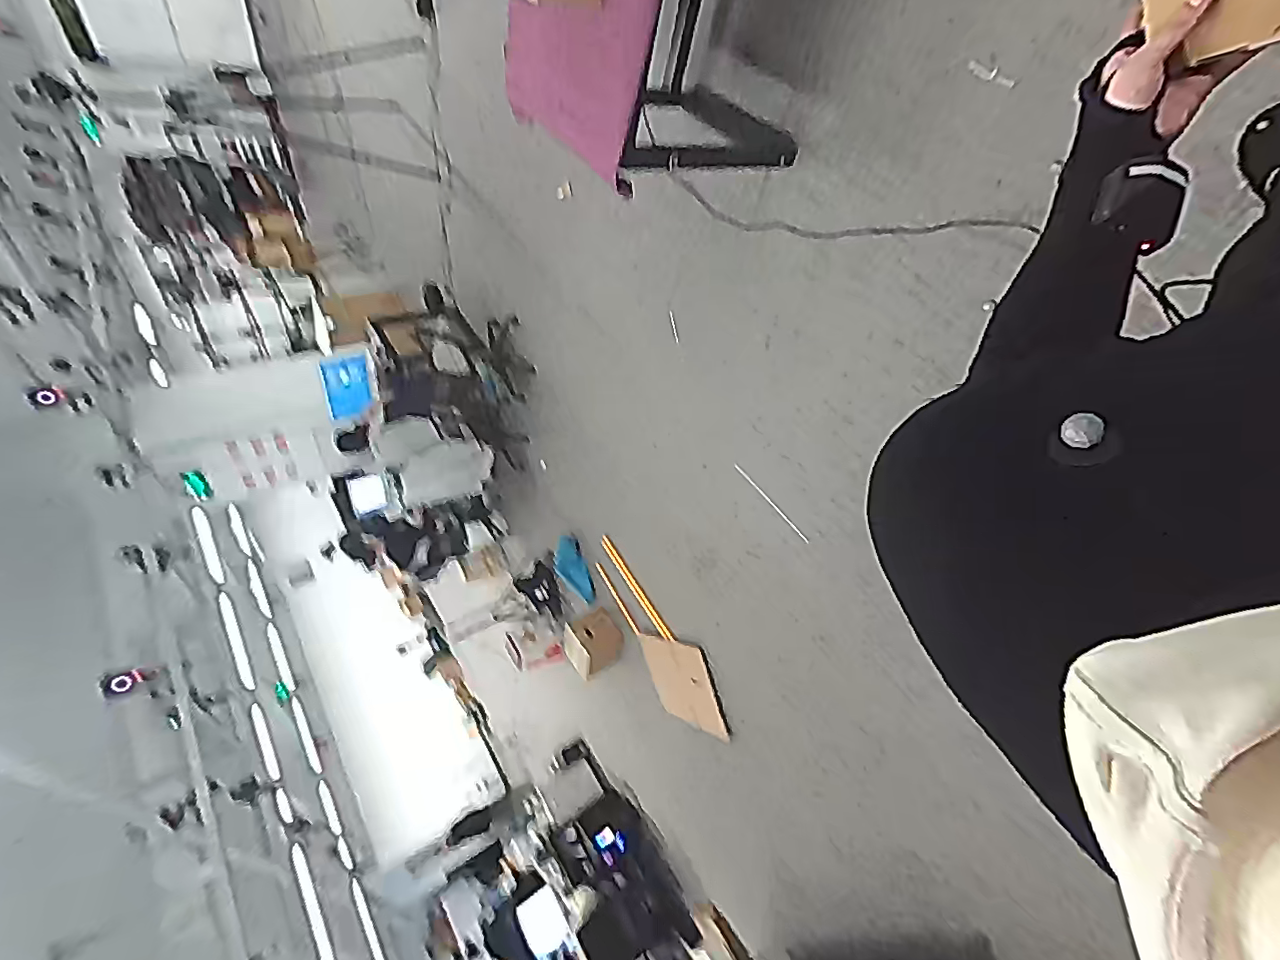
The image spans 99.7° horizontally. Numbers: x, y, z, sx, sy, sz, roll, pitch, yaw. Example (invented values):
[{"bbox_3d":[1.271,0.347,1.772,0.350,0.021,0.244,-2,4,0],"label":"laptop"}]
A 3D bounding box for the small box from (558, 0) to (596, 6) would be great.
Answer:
[{"bbox_3d":[-0.195,-1.172,1.181,0.179,0.176,0.168,50,144,26],"label":"small box"}]

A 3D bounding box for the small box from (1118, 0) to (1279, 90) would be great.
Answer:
[{"bbox_3d":[0.487,-0.449,0.396,0.179,0.176,0.168,51,164,-29],"label":"small box"}]
